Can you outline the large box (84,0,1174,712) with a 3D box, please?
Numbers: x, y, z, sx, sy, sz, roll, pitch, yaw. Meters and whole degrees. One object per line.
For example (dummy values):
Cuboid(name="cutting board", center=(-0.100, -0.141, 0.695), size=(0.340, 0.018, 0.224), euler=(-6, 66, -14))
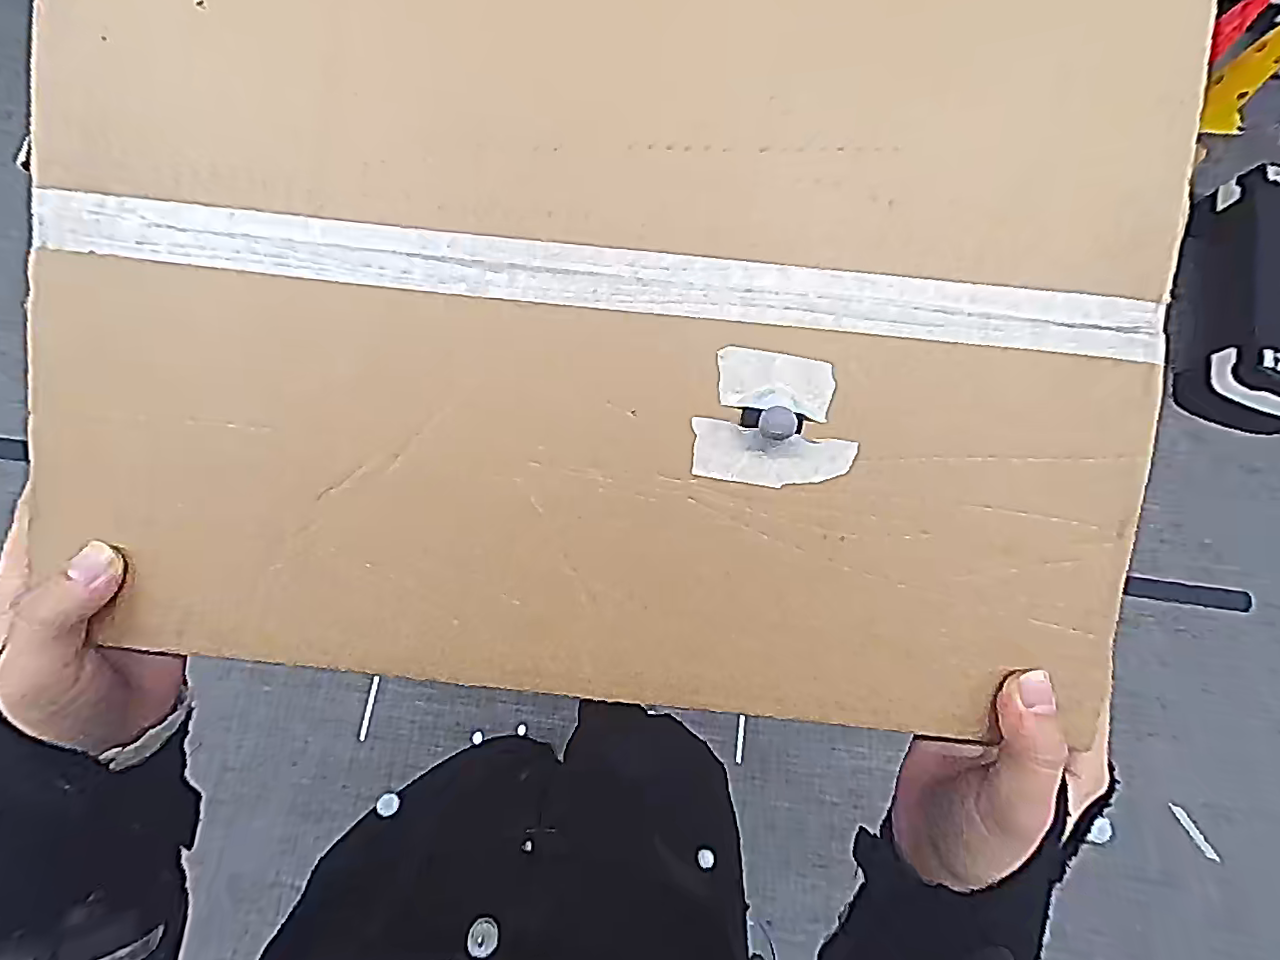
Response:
Cuboid(name="large box", center=(-0.011, -0.081, 0.357), size=(0.408, 0.320, 0.320), euler=(6, 94, -1))
